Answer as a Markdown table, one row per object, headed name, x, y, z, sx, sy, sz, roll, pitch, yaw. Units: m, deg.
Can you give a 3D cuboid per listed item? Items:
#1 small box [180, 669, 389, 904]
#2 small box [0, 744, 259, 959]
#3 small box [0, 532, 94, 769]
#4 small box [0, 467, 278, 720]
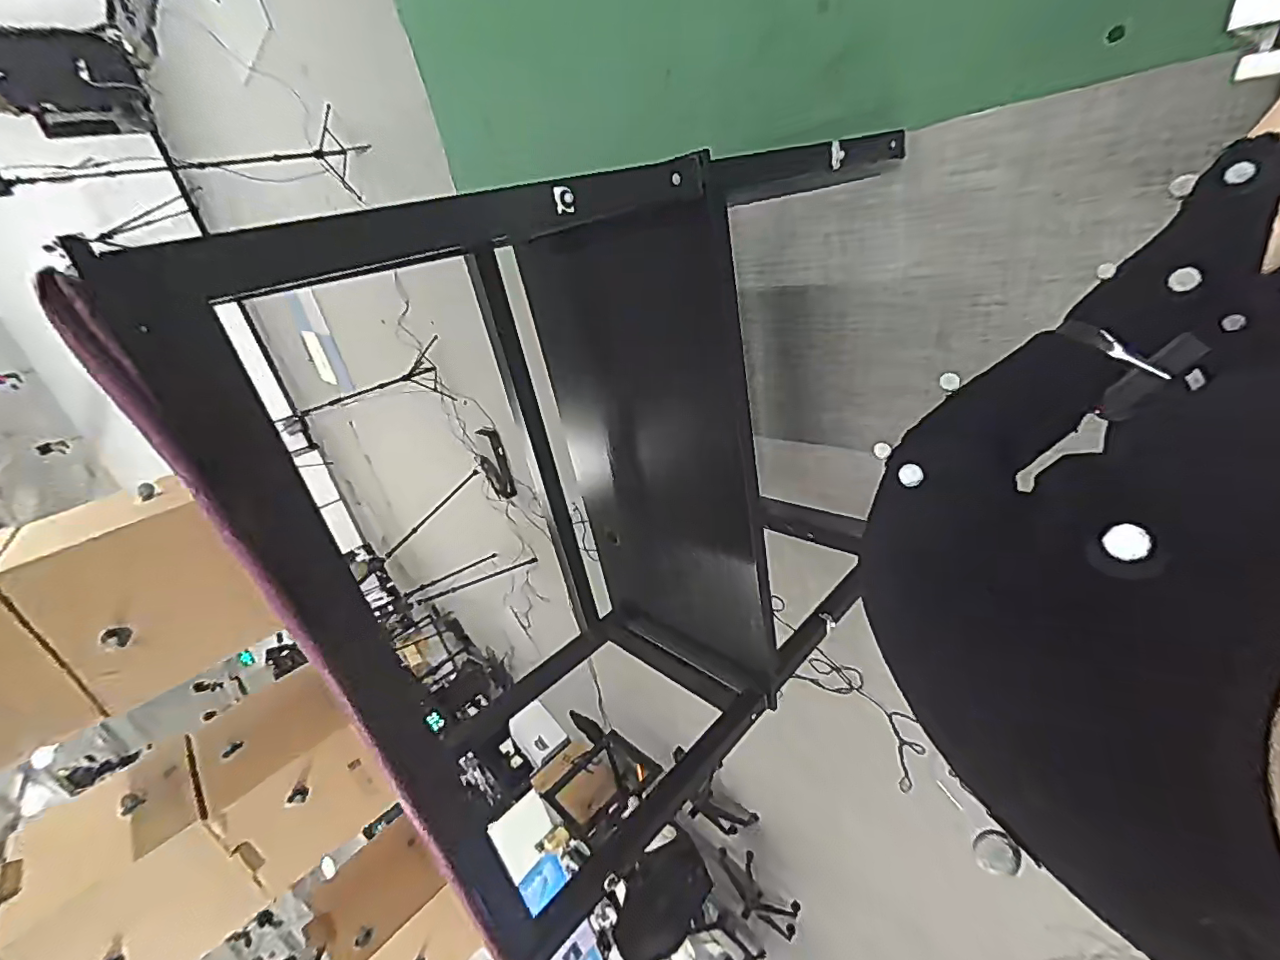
| name | x | y | z | sx | sy | sz | roll | pitch | yaw |
| --- | --- | --- | --- | --- | --- | --- | --- | --- | --- |
| small box | -0.459 | 0.386 | 0.715 | 0.179 | 0.176 | 0.168 | 18 | 127 | 45 |
| small box | -0.577 | 0.455 | 0.622 | 0.168 | 0.176 | 0.179 | 17 | 127 | 43 |
| small box | -0.649 | 0.177 | 0.505 | 0.168 | 0.176 | 0.179 | 18 | 128 | 47 |
| small box | -0.527 | 0.109 | 0.588 | 0.168 | 0.176 | 0.179 | 17 | 128 | 47 |
